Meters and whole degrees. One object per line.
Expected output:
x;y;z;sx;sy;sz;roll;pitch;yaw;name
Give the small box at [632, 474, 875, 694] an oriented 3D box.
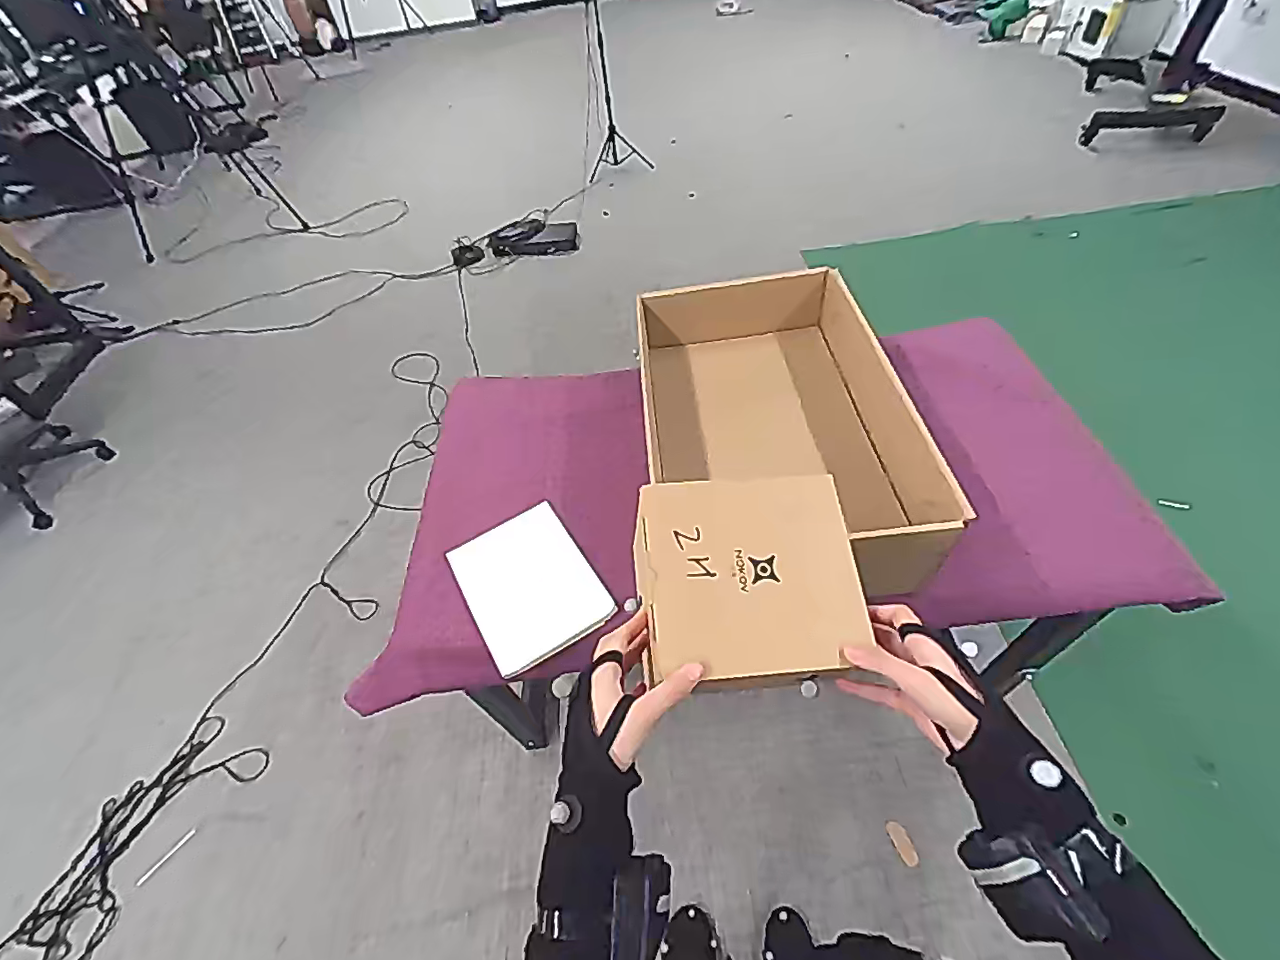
0.086;0.105;0.513;0.179;0.176;0.168;-3;64;-4;small box
